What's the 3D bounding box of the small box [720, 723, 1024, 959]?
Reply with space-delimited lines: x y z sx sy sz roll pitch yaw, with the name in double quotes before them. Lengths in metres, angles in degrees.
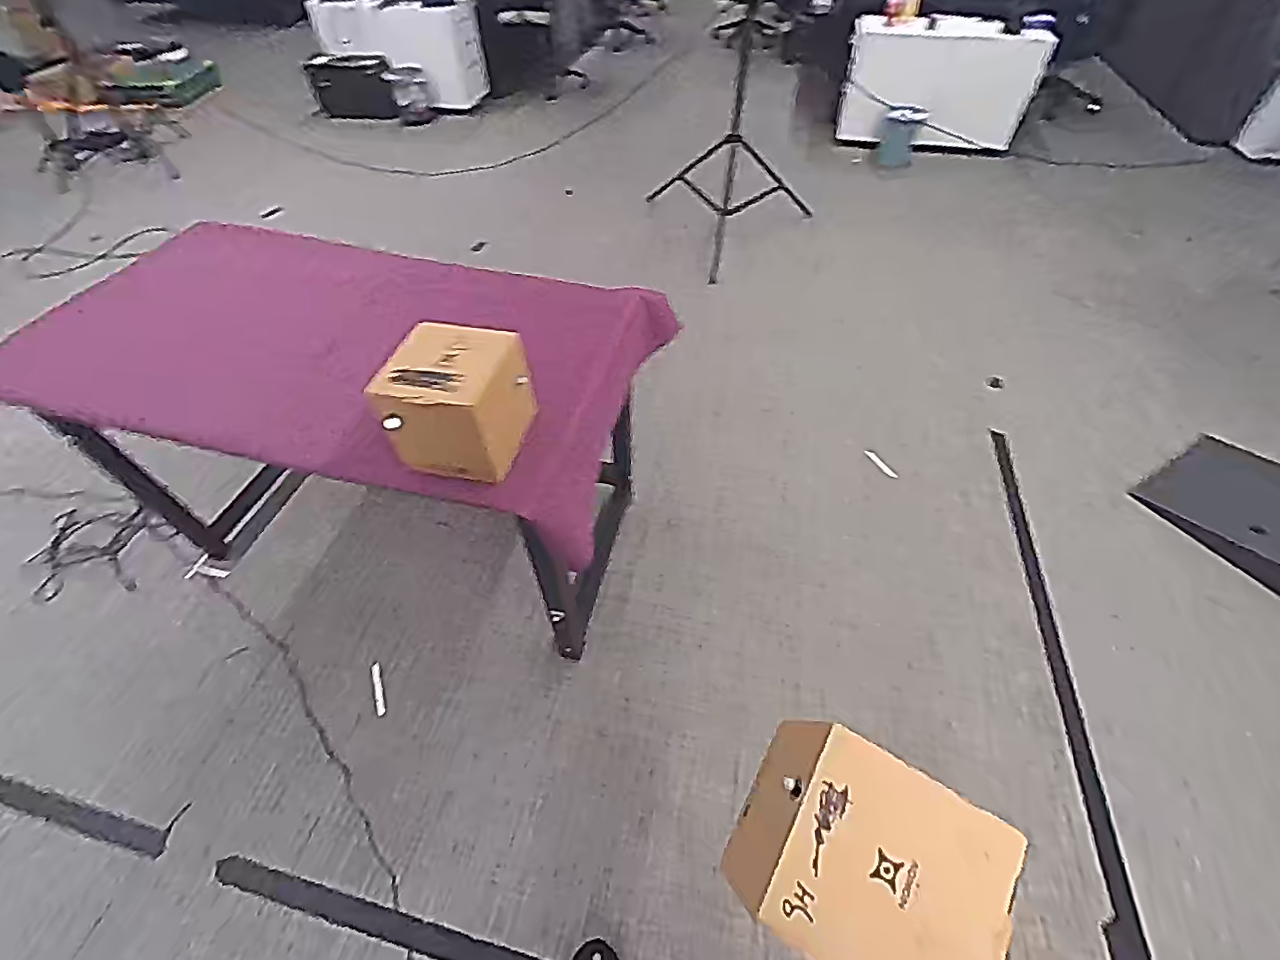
"small box" 0.197 0.342 0.501 0.179 0.176 0.168 29 69 9
